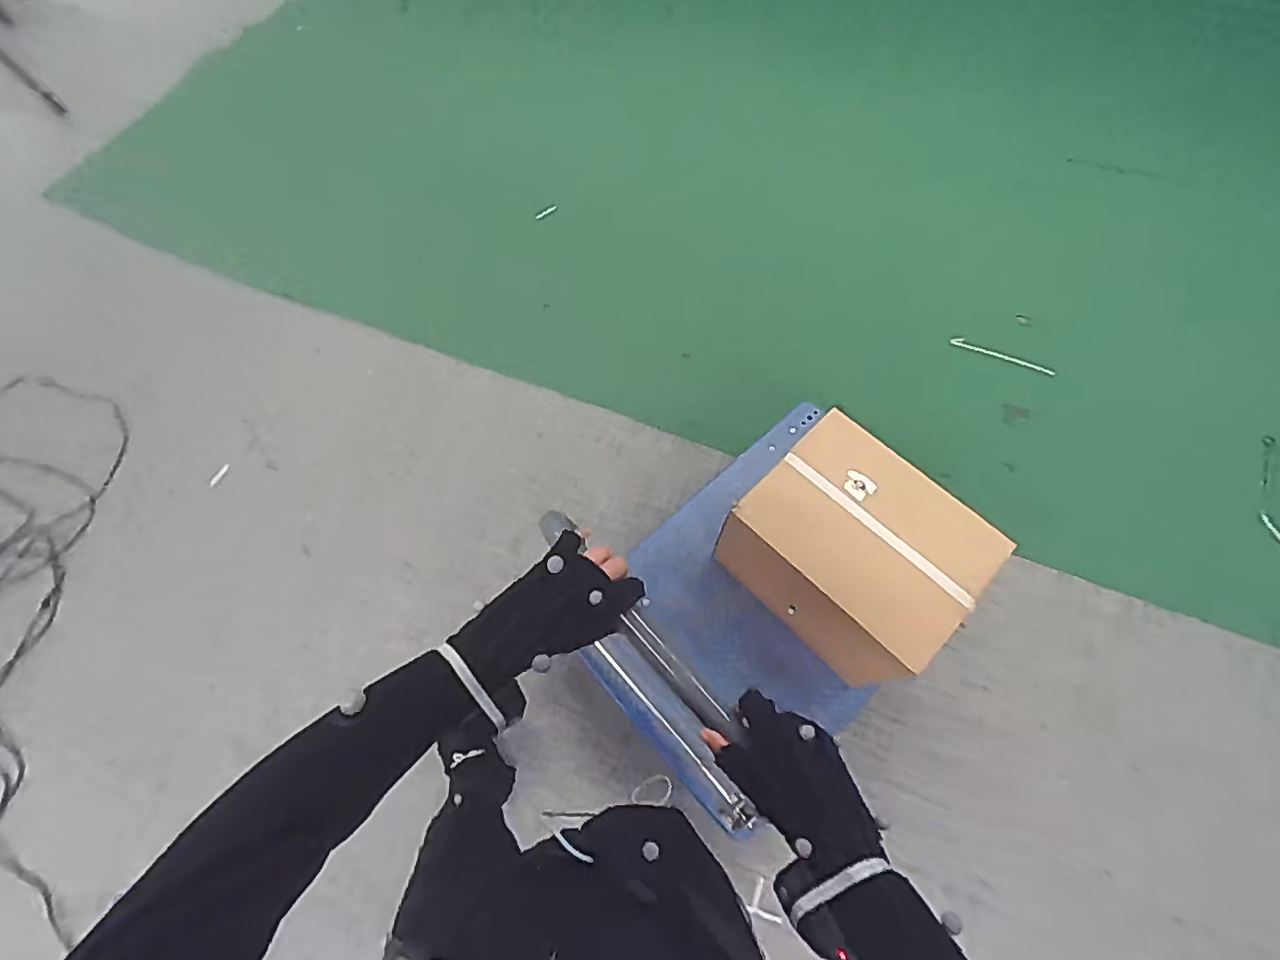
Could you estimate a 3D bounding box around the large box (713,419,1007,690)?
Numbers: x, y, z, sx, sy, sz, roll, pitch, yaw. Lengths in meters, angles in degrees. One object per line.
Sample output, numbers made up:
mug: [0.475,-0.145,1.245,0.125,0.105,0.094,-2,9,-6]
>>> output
large box: [0.407,0.162,1.103,0.320,0.320,0.408,-41,70,-17]
